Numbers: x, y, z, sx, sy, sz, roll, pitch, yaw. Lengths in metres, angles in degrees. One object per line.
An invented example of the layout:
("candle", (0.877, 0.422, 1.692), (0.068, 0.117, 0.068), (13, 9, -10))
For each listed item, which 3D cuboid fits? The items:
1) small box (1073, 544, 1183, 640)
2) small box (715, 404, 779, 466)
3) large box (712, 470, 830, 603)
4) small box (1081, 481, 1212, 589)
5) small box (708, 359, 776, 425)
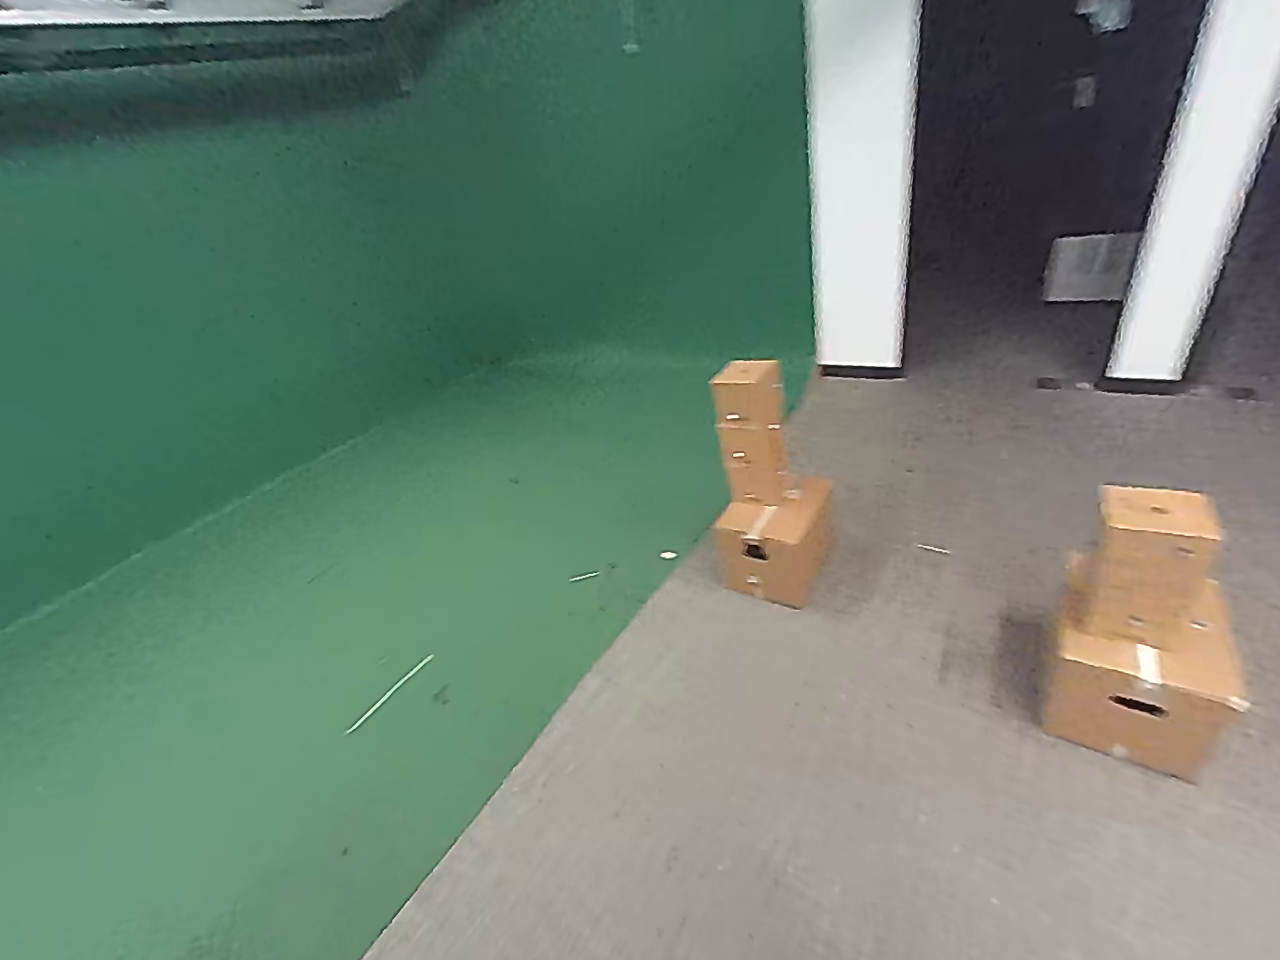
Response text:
("small box", (1.172, 0.258, 1.311), (0.168, 0.176, 0.179), (7, 39, 32))
("small box", (0.394, -0.171, 1.960), (0.168, 0.176, 0.179), (7, 39, 35))
("large box", (0.521, 0.207, 2.093), (0.320, 0.320, 0.408), (10, 39, 34))
("small box", (1.131, 0.124, 1.223), (0.179, 0.176, 0.168), (6, 37, 32))
("small box", (0.361, -0.308, 1.879), (0.168, 0.176, 0.179), (8, 40, 37))
